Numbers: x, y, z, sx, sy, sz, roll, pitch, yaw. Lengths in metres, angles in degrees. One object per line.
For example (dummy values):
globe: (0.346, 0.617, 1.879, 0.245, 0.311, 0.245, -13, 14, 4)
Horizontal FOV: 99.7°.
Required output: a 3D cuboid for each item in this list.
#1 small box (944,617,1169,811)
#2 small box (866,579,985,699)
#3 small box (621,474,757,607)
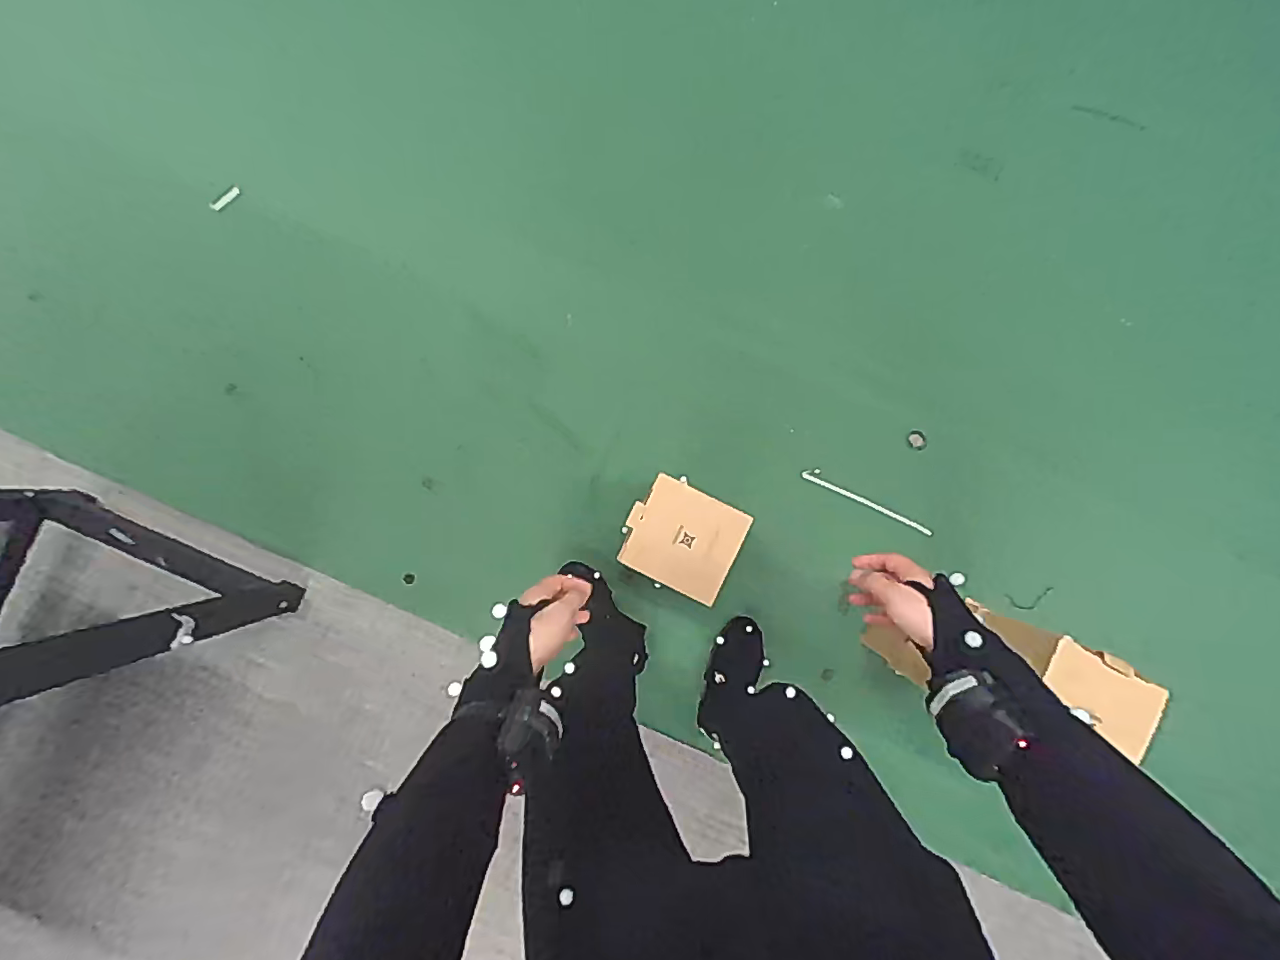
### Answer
small box: (0.590, 0.325, 0.793, 0.168, 0.176, 0.179, 28, 88, -1)
small box: (0.600, 0.329, 1.123, 0.168, 0.176, 0.179, 32, 89, 0)
small box: (0.079, 0.102, 0.963, 0.179, 0.176, 0.168, 26, 89, 0)
